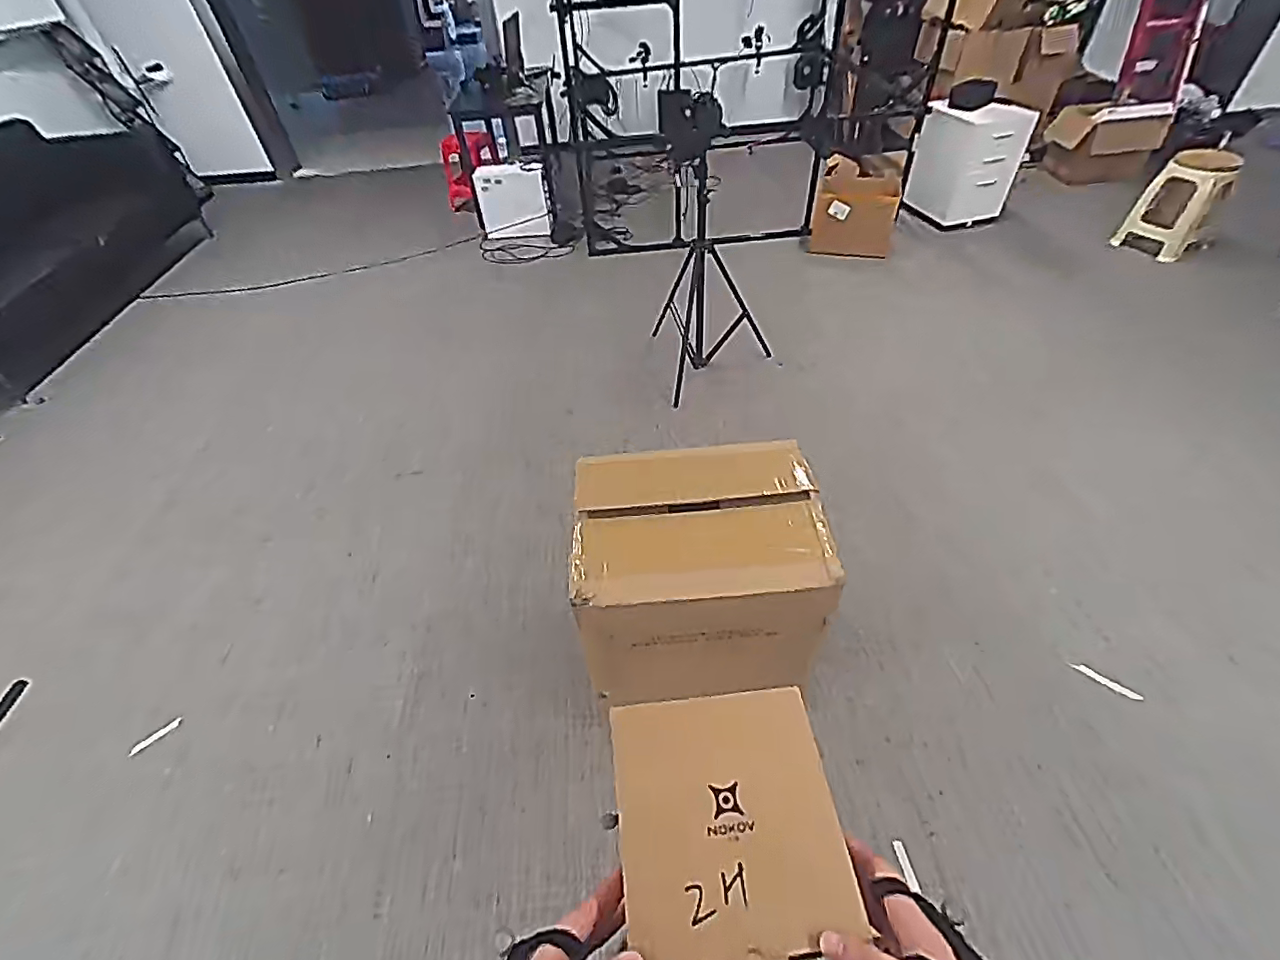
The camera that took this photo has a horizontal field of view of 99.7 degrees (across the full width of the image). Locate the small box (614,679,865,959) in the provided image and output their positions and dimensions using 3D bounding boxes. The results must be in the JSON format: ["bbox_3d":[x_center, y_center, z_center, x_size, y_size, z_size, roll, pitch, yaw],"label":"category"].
[{"bbox_3d":[0.065,0.300,0.478,0.168,0.176,0.179,-5,49,-4],"label":"small box"}]
